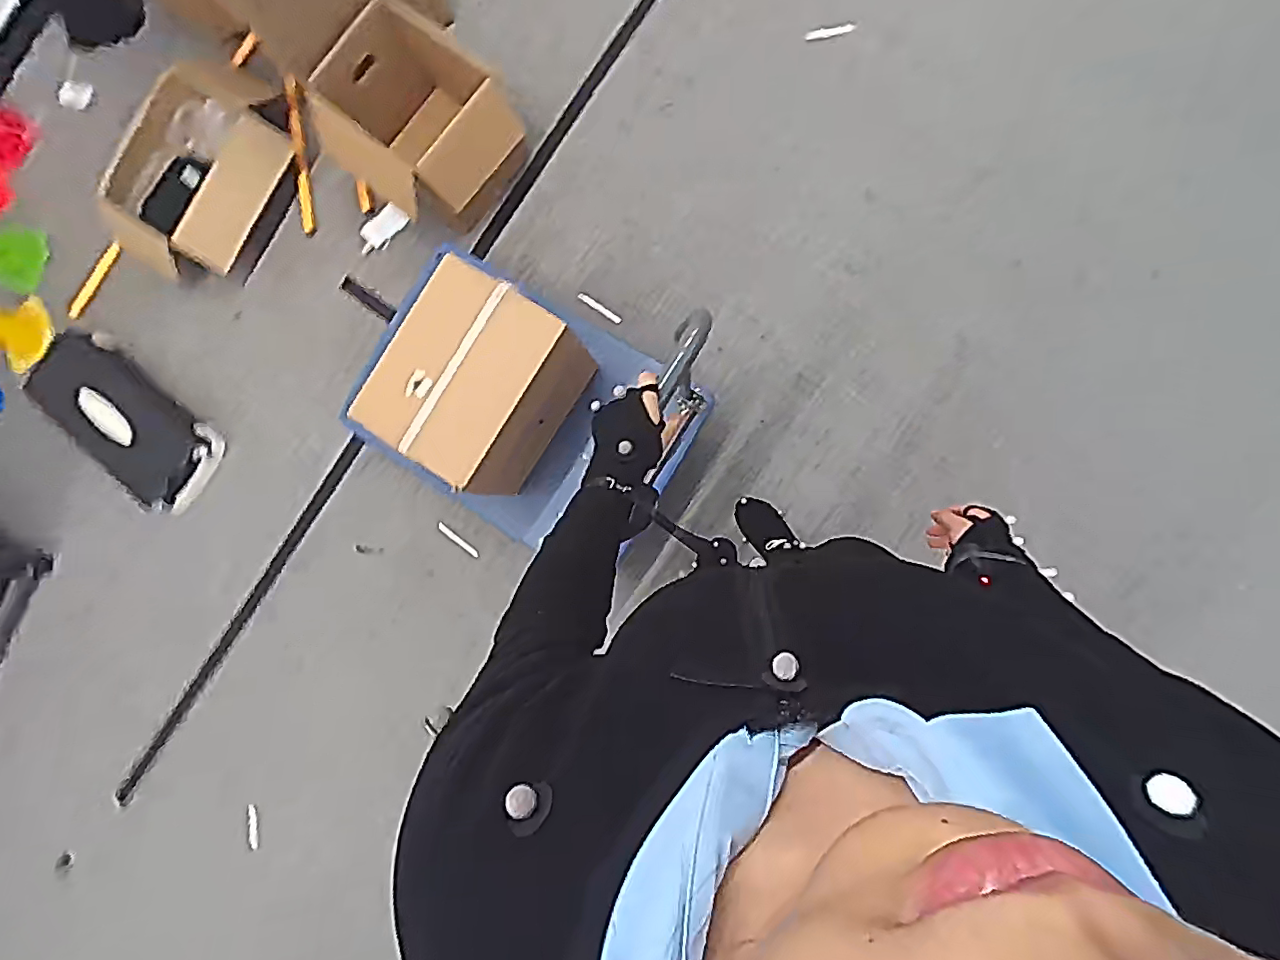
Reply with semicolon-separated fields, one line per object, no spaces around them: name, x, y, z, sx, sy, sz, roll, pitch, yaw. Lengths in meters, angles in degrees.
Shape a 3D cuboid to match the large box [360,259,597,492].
large box;-0.353;-0.220;1.278;0.320;0.320;0.408;32;92;10
